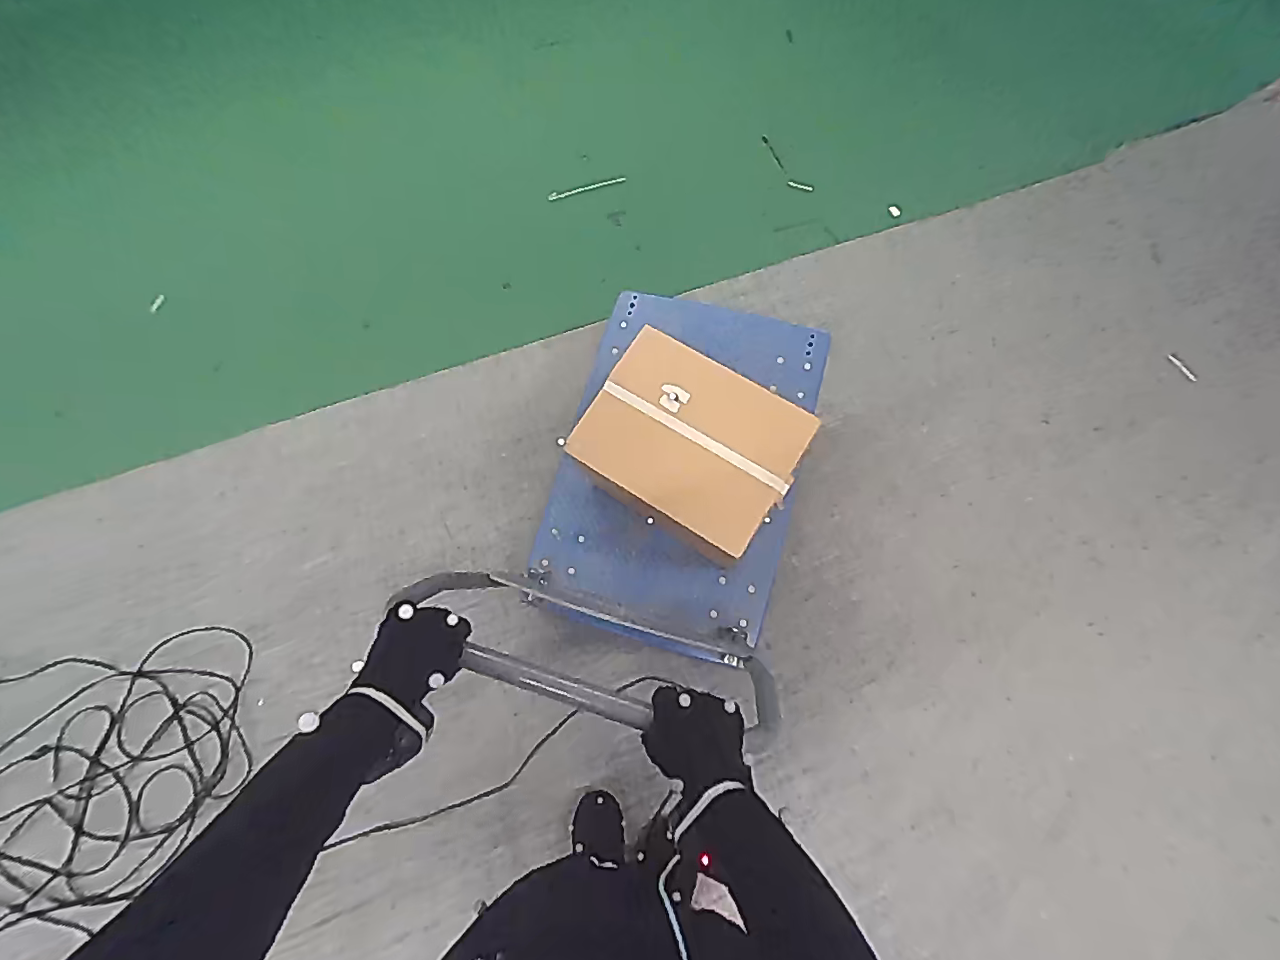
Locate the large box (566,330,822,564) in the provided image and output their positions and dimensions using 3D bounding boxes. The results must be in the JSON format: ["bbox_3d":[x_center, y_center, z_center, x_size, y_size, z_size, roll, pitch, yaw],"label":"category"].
[{"bbox_3d":[0.119,-0.052,1.181,0.408,0.320,0.320,31,82,13],"label":"large box"}]
